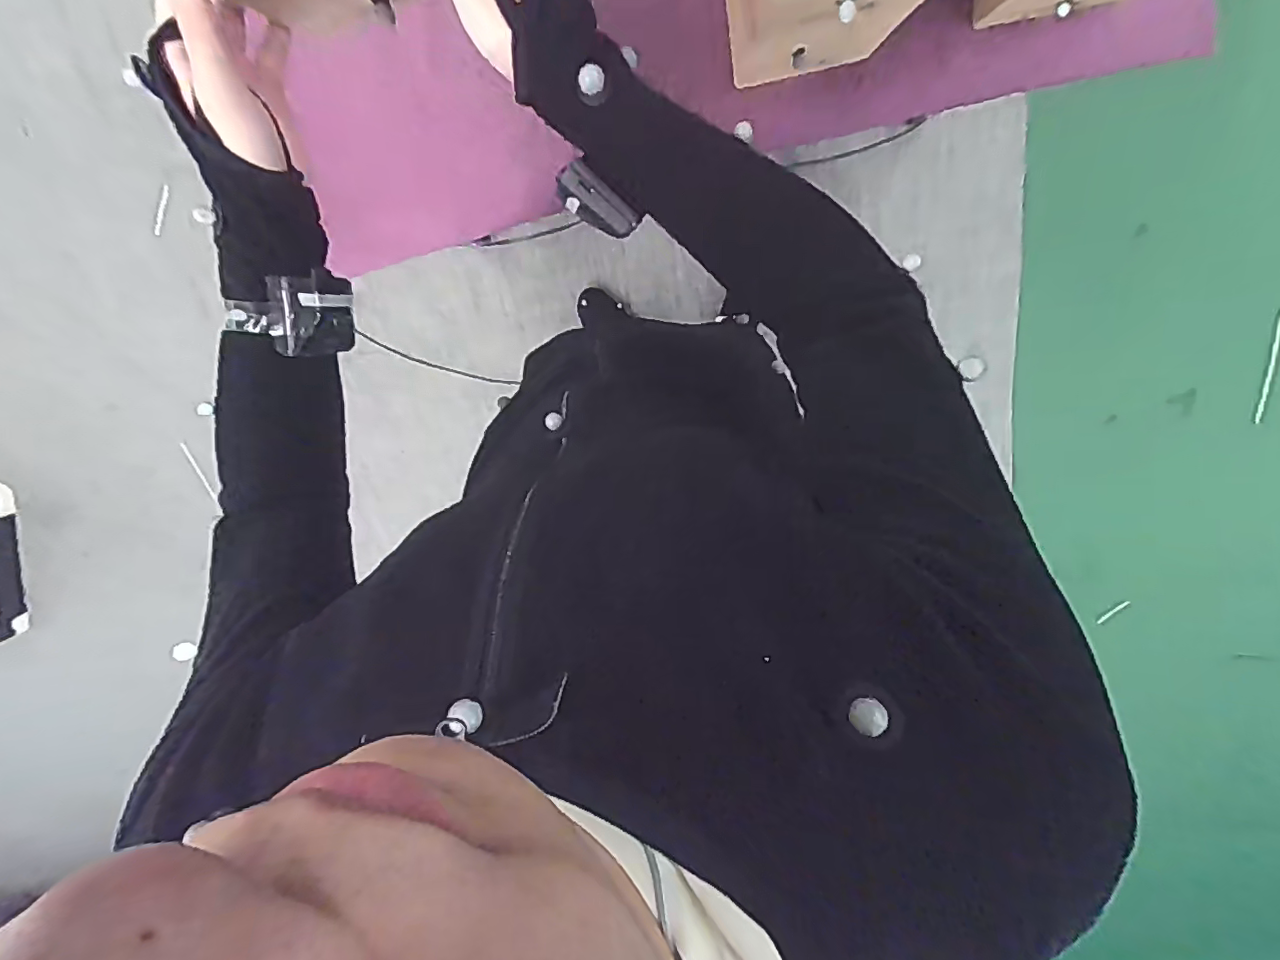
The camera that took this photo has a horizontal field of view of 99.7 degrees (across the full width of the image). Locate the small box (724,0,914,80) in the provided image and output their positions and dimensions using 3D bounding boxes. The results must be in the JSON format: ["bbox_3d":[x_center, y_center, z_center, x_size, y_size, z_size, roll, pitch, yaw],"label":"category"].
[{"bbox_3d":[0.177,-0.556,0.571,0.168,0.176,0.179,-9,111,7],"label":"small box"}]

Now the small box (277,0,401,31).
[{"bbox_3d":[-0.206,-0.417,0.323,0.168,0.176,0.179,-20,122,6],"label":"small box"}]
